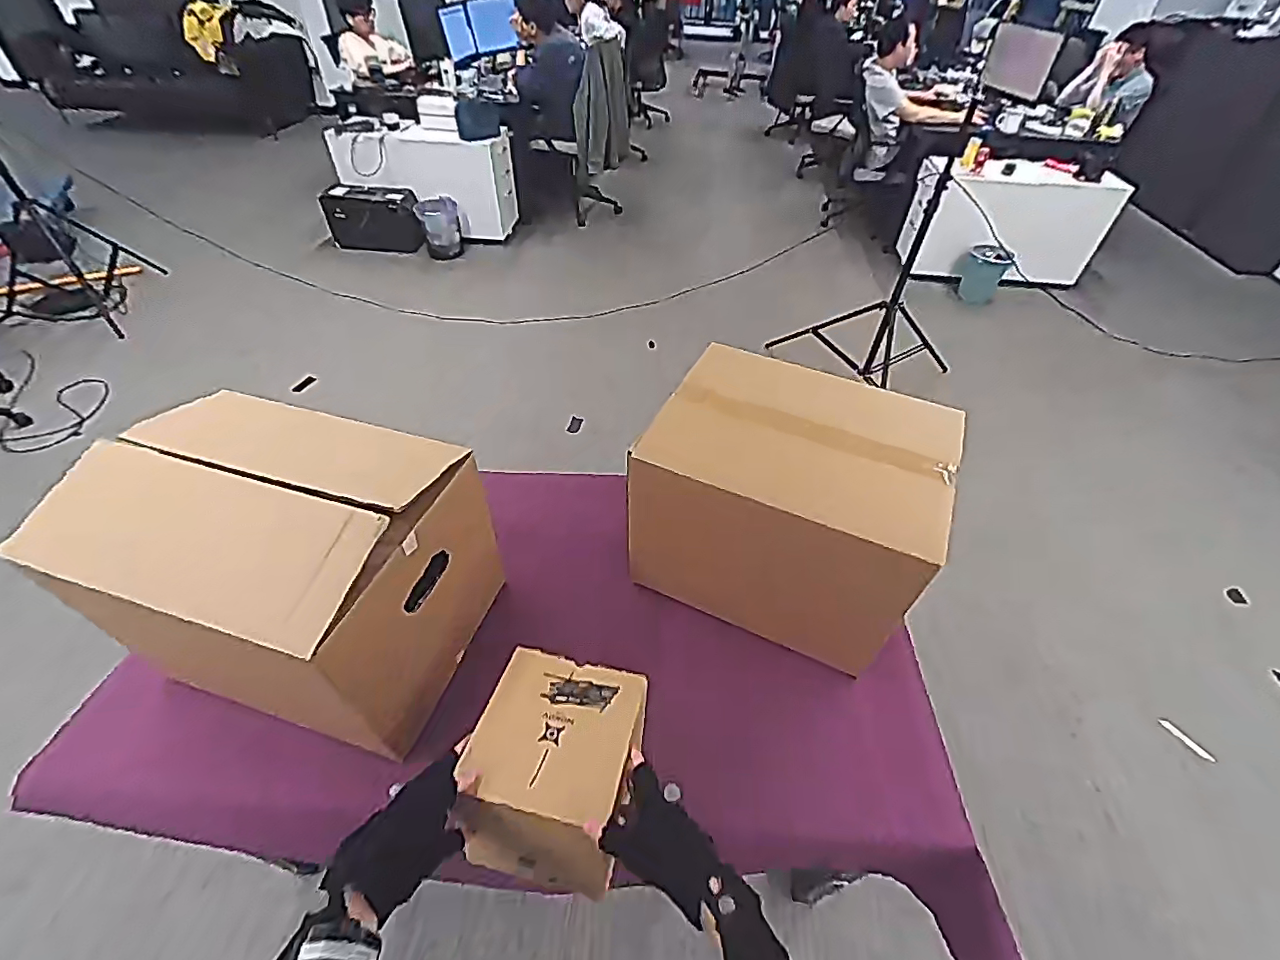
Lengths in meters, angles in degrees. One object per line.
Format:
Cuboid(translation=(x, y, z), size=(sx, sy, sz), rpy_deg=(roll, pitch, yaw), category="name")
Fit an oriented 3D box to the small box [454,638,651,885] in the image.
Cuboid(translation=(-0.090, 0.319, 0.626), size=(0.168, 0.176, 0.179), rpy_deg=(9, 36, 10), category="small box")
